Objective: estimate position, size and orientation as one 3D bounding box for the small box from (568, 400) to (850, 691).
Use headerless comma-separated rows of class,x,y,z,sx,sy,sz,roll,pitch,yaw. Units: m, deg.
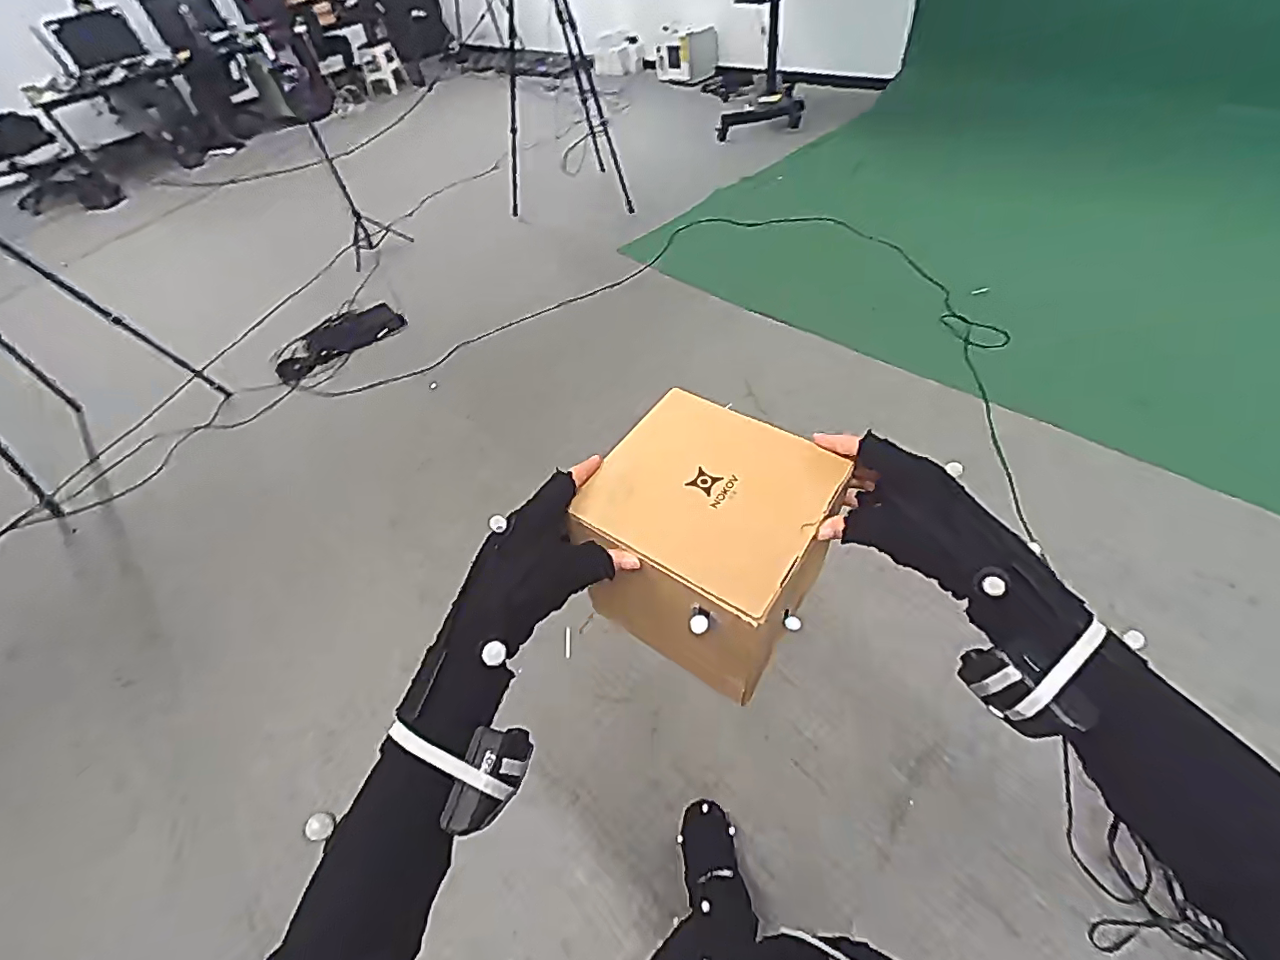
small box,0.062,0.061,0.496,0.179,0.176,0.168,26,57,25
